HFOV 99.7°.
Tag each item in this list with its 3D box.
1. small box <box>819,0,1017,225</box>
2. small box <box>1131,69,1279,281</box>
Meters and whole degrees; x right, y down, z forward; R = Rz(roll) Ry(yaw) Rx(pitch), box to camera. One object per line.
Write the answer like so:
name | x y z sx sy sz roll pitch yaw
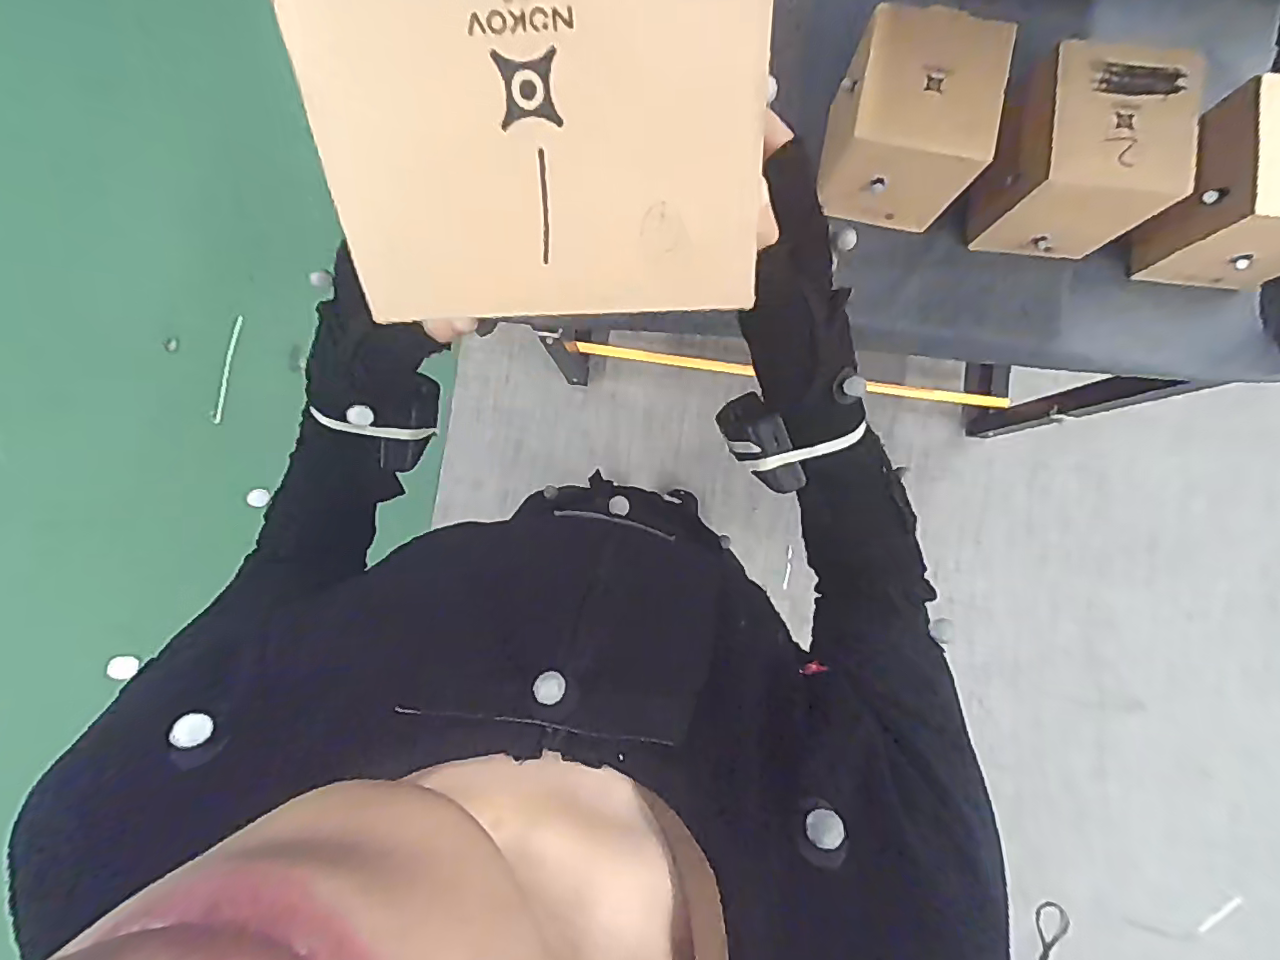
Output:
small box | 0.350 -0.469 0.715 0.168 0.176 0.179 11 87 2
small box | 0.788 -0.377 0.698 0.168 0.176 0.179 6 86 1
